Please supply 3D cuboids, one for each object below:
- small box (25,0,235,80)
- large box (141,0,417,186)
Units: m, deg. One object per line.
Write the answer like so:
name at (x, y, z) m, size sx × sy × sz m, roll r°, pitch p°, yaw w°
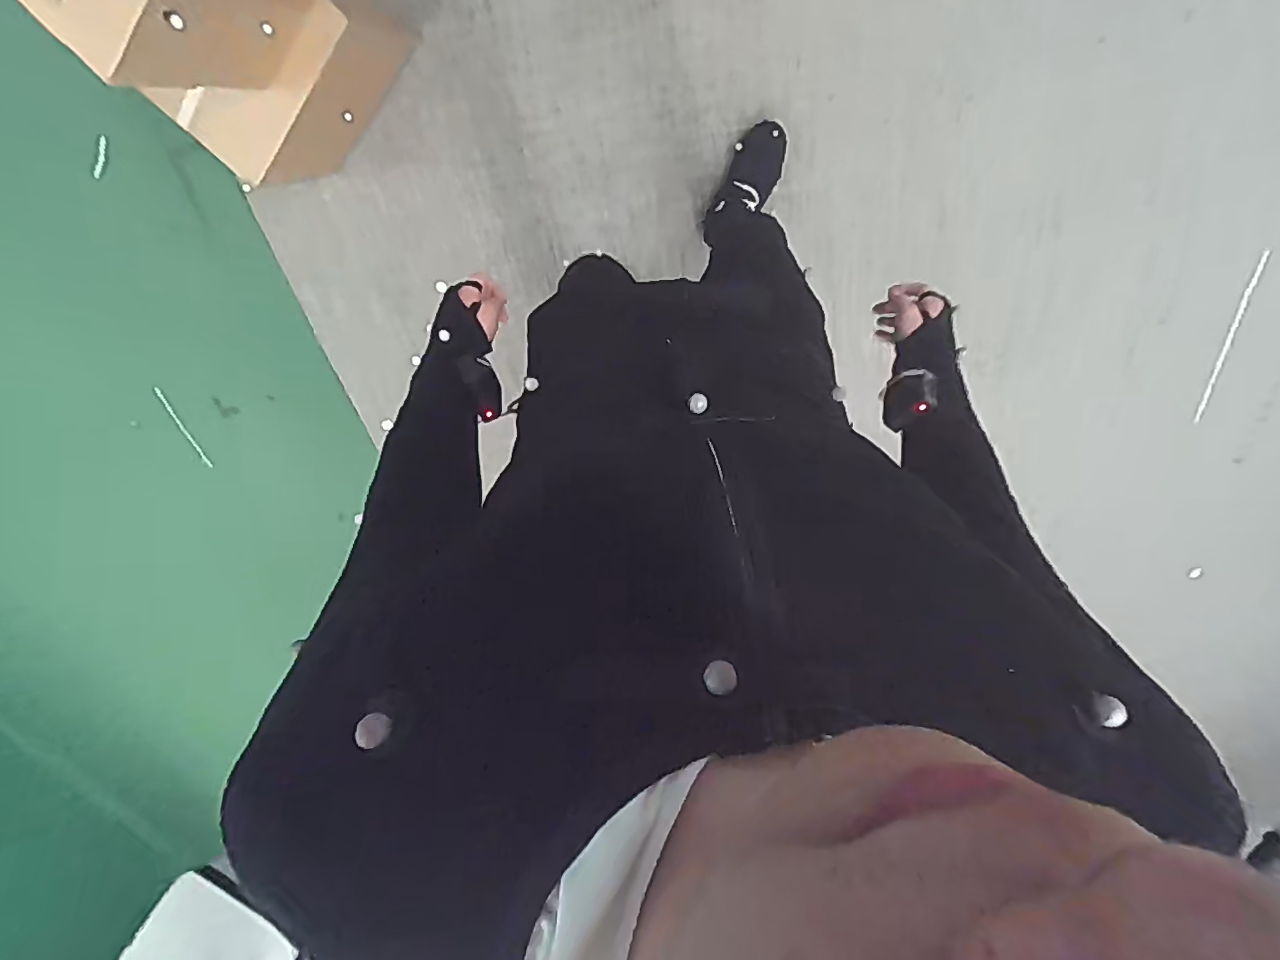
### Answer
small box at (-0.718, -0.699, 0.750) m, size 0.179 × 0.176 × 0.168 m, roll -31°, pitch 116°, yaw 24°
large box at (-0.744, -0.903, 1.112) m, size 0.408 × 0.320 × 0.320 m, roll -35°, pitch 113°, yaw 27°
